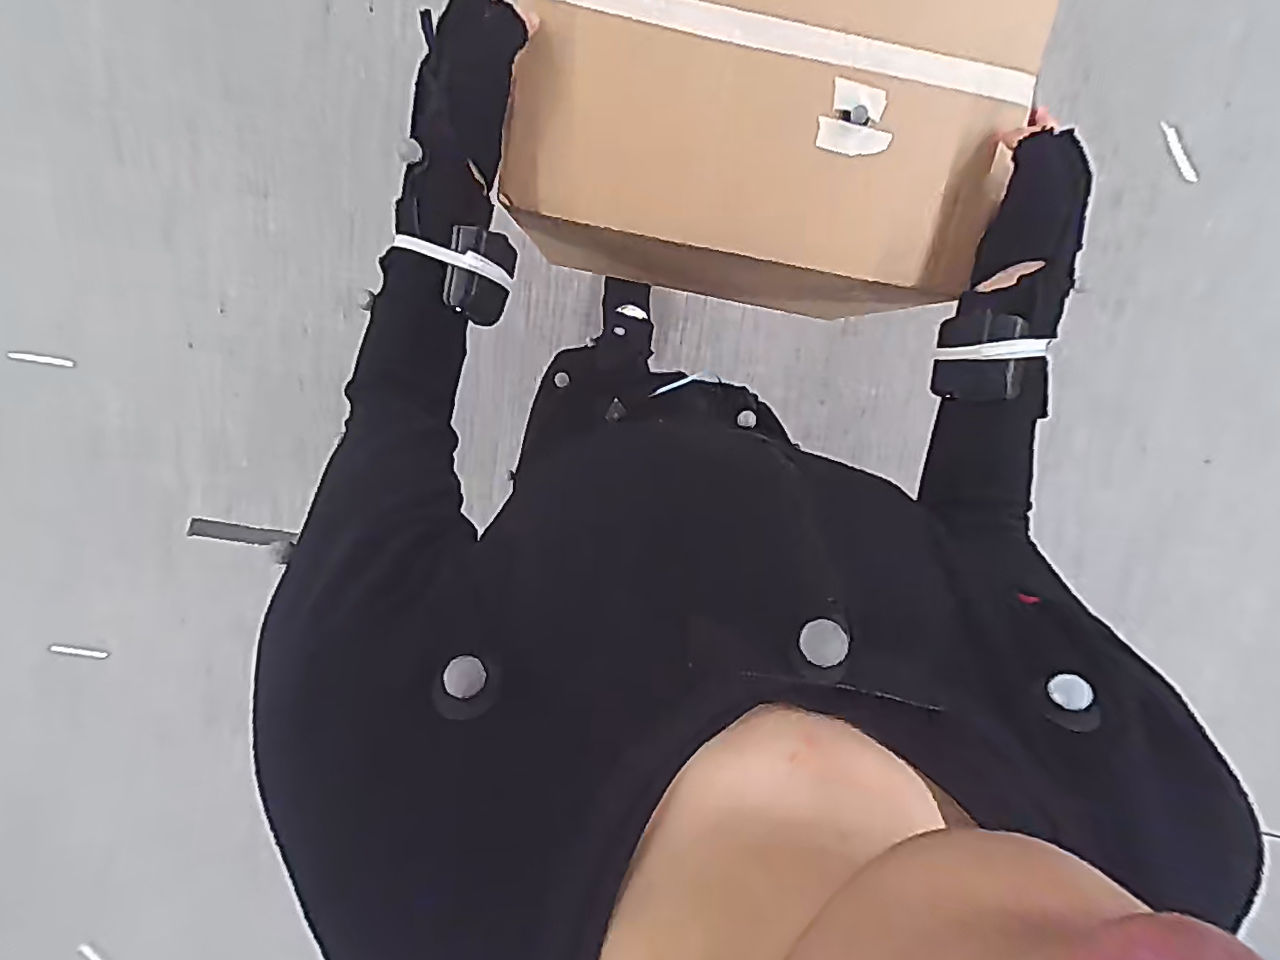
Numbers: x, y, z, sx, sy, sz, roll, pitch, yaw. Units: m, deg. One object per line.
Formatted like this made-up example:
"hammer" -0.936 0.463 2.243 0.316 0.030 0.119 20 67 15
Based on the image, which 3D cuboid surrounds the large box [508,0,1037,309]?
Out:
"large box" 0.100 -0.383 0.573 0.408 0.320 0.320 10 104 -5
